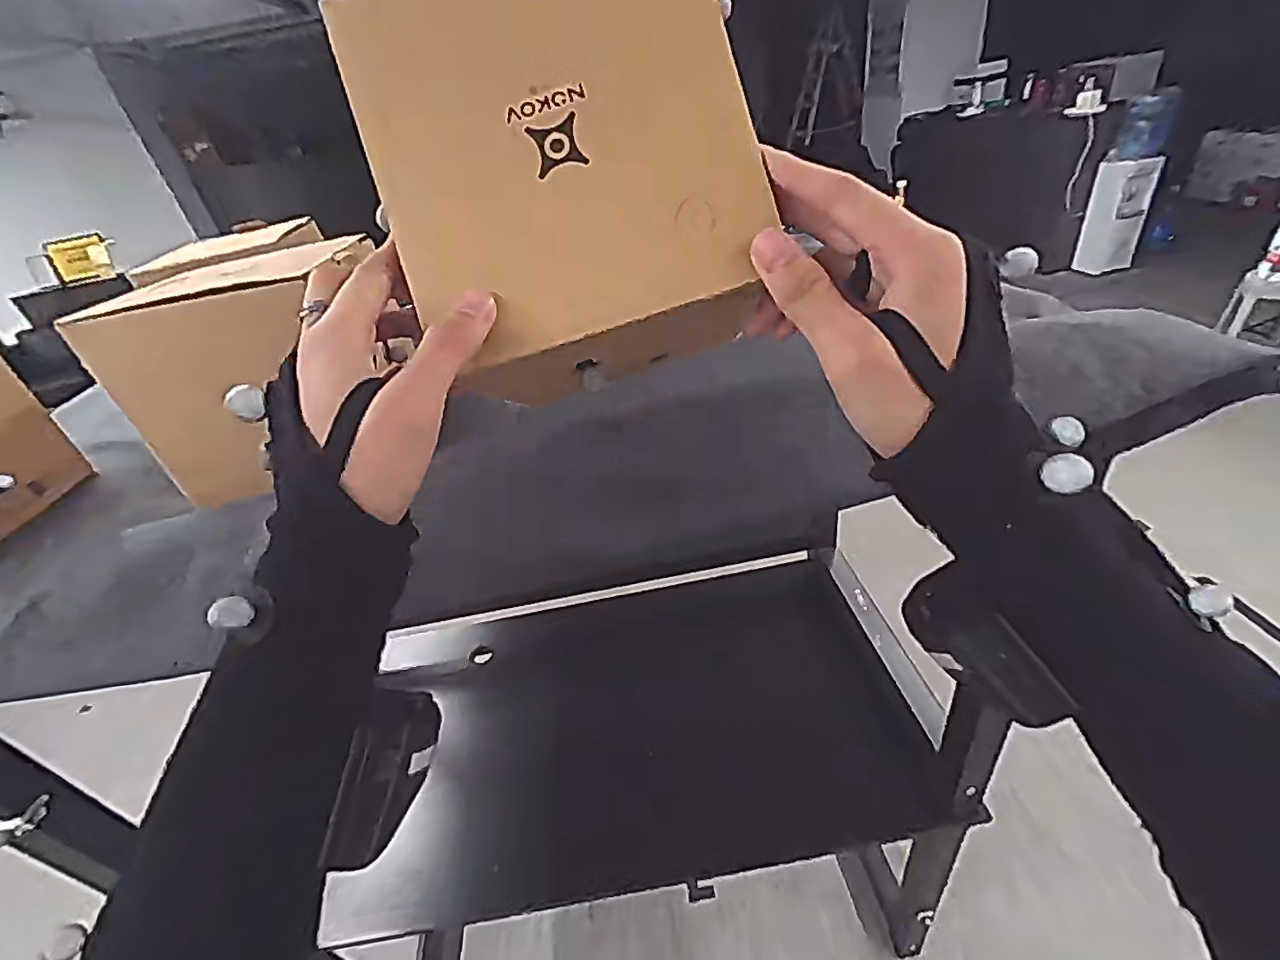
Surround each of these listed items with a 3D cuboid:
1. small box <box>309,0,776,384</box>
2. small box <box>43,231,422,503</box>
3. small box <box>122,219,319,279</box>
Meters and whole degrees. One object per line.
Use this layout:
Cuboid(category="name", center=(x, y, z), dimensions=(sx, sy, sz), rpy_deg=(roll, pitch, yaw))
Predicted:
Cuboid(category="small box", center=(-0.038, -0.161, 0.310), dimensions=(0.168, 0.179, 0.176), rpy_deg=(-17, 2, 3))
Cuboid(category="small box", center=(-0.315, -0.102, 0.474), dimensions=(0.179, 0.176, 0.168), rpy_deg=(-11, 33, -1))
Cuboid(category="small box", center=(-0.502, -0.231, 0.717), dimensions=(0.168, 0.176, 0.179), rpy_deg=(-16, 34, -5))
